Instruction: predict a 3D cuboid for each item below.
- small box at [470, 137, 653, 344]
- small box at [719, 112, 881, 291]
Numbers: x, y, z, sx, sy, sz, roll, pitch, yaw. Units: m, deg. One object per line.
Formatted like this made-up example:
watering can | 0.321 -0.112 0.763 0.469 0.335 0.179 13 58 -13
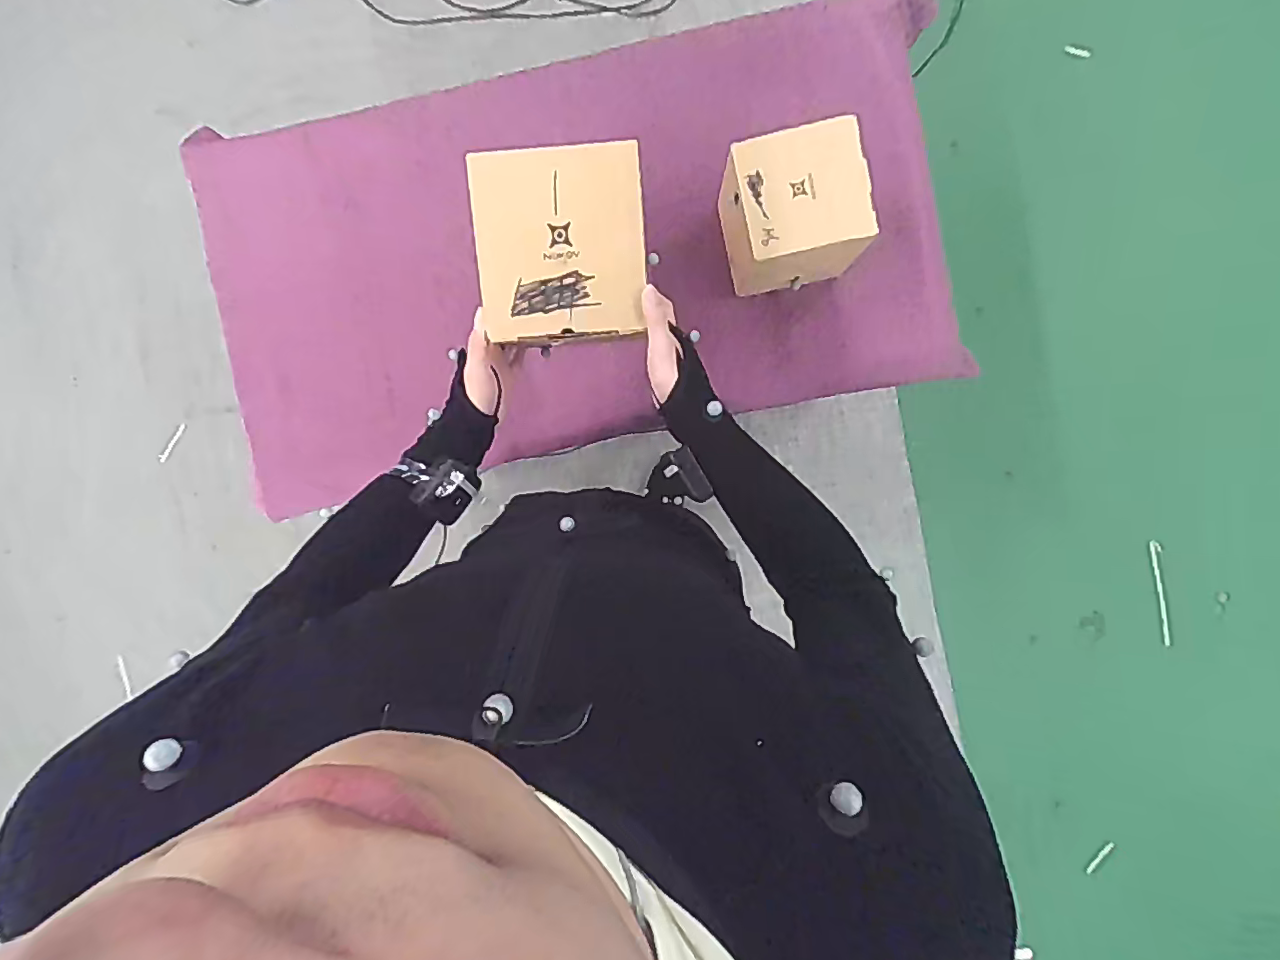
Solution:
small box | -0.071 -0.244 0.596 0.168 0.176 0.179 -4 101 1
small box | 0.228 -0.402 0.810 0.179 0.176 0.168 -12 91 2
